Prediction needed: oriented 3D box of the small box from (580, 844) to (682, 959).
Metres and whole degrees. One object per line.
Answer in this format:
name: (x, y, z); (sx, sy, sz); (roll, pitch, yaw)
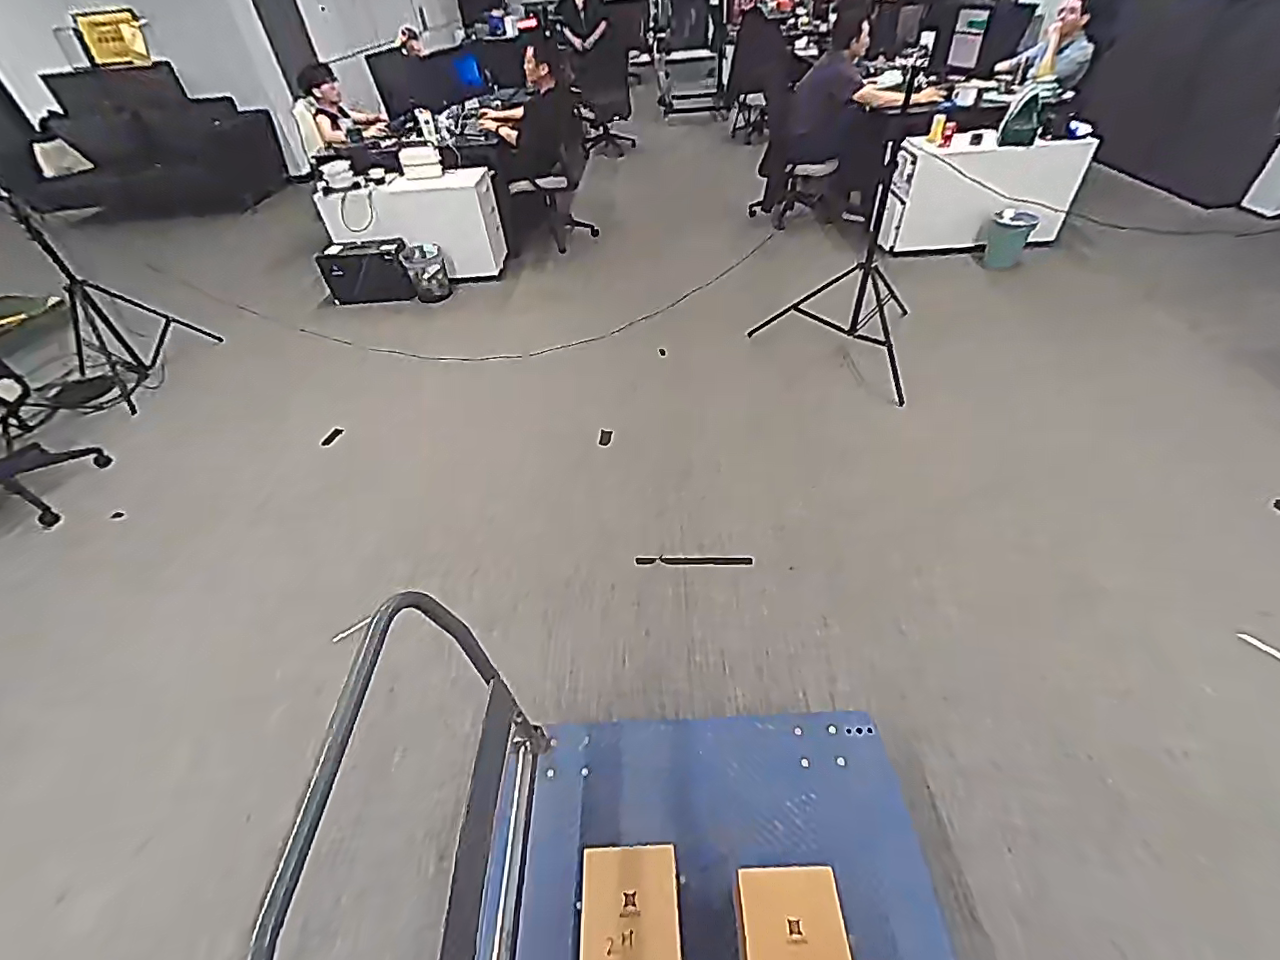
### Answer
small box: (-0.011, 0.781, 0.972); (0.168, 0.176, 0.179); (-4, 44, 2)

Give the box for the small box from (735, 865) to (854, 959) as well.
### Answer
small box: (0.260, 0.792, 0.934); (0.168, 0.176, 0.179); (-4, 44, 2)
